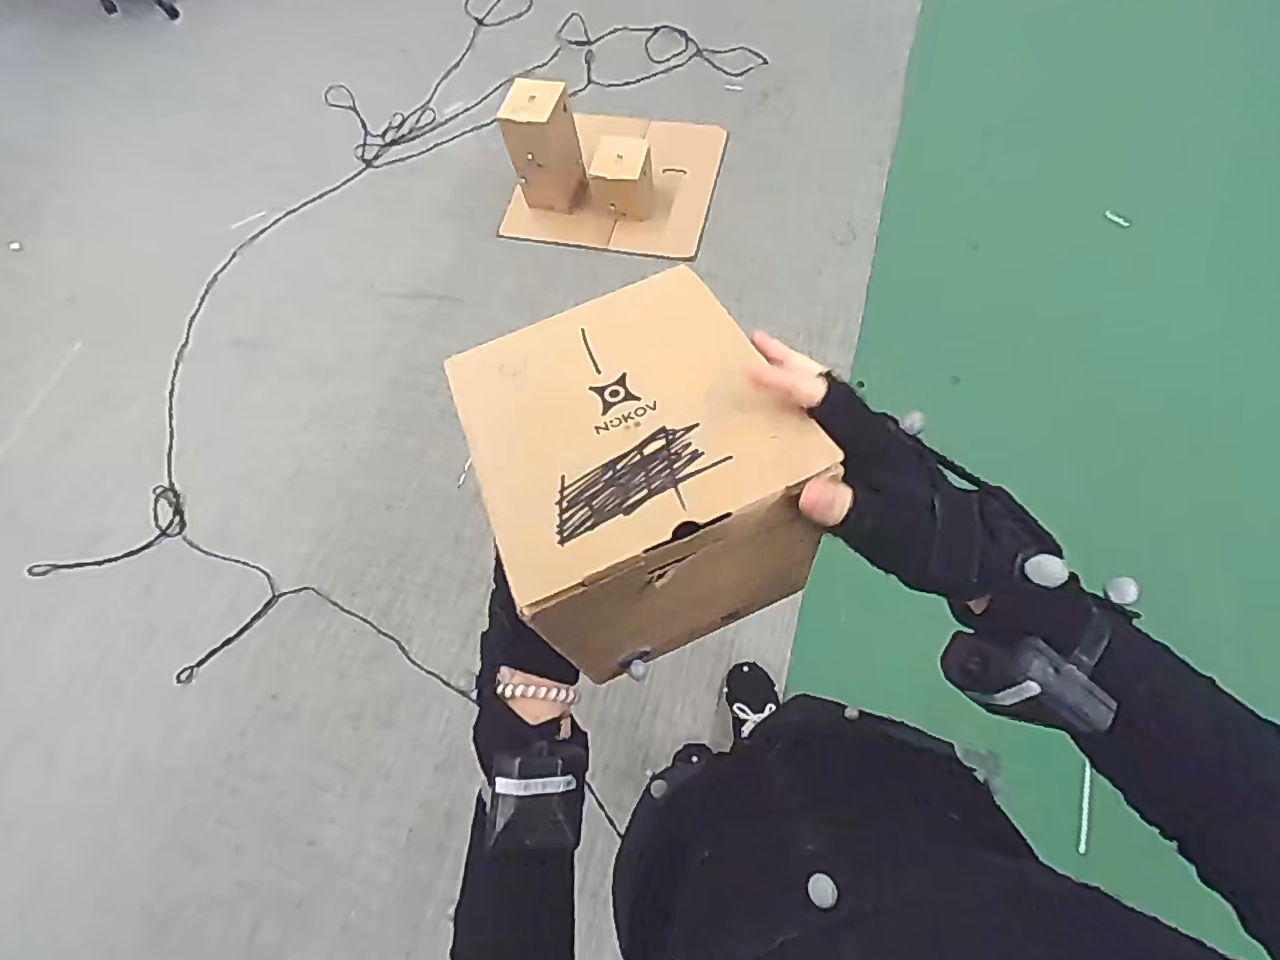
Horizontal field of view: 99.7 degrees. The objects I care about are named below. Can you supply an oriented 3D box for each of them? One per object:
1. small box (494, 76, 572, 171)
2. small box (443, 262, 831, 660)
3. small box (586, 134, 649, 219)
[{"bbox_3d":[-0.323,-1.101,1.675,0.168,0.176,0.179,14,72,12],"label":"small box"},{"bbox_3d":[-0.001,0.001,0.357,0.168,0.176,0.179,-24,58,-5],"label":"small box"},{"bbox_3d":[-0.068,-1.003,1.792,0.168,0.176,0.179,10,72,9],"label":"small box"}]
